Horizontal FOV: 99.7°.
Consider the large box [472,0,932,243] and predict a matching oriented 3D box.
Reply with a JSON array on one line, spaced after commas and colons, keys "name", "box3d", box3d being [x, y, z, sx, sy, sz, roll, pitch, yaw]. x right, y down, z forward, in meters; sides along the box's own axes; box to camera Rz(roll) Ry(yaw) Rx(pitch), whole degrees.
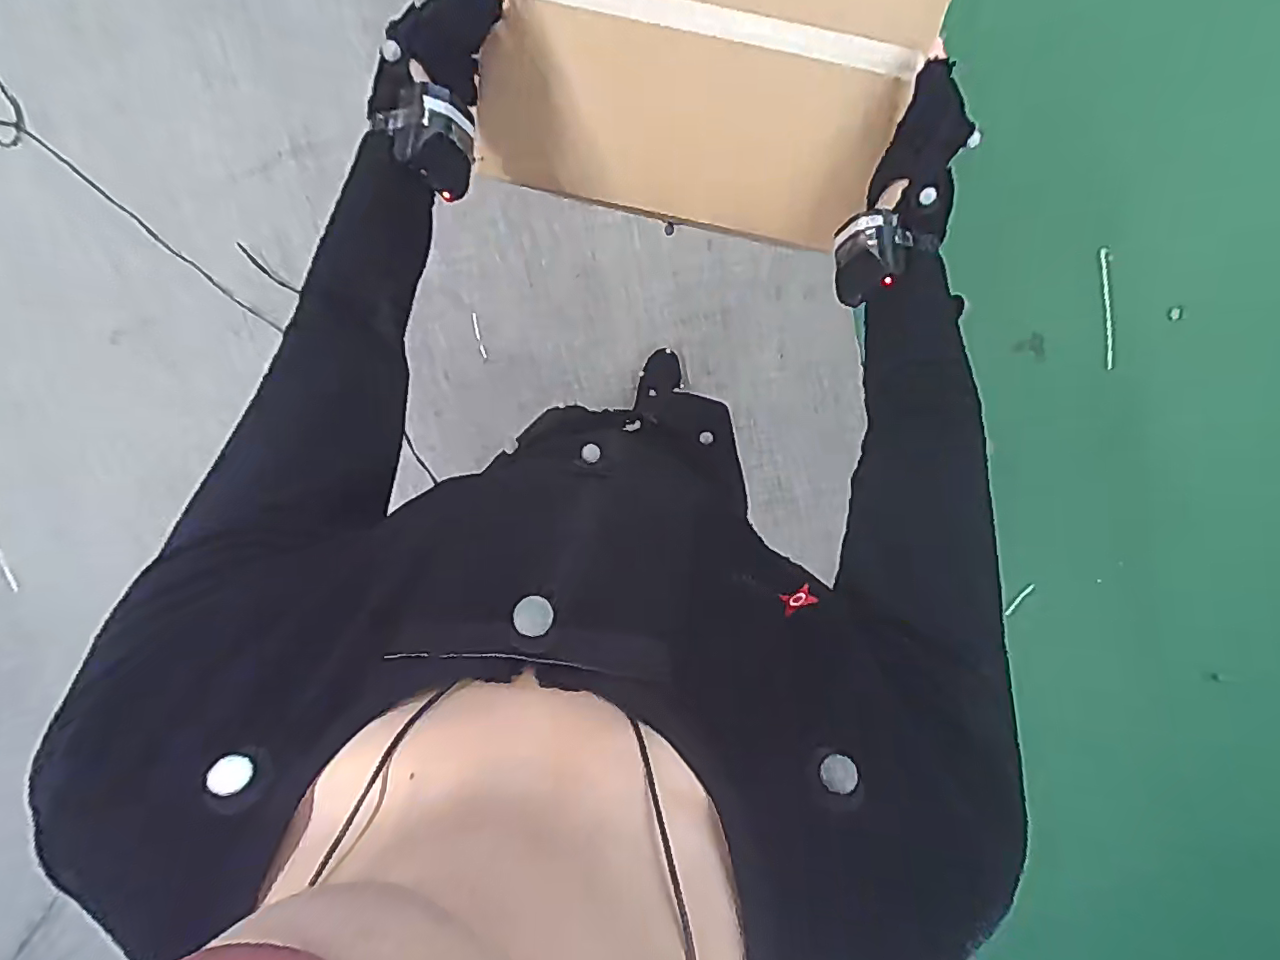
[{"name": "large box", "box3d": [0.062, -0.472, 0.617, 0.408, 0.320, 0.320, 11, 114, 0]}]
